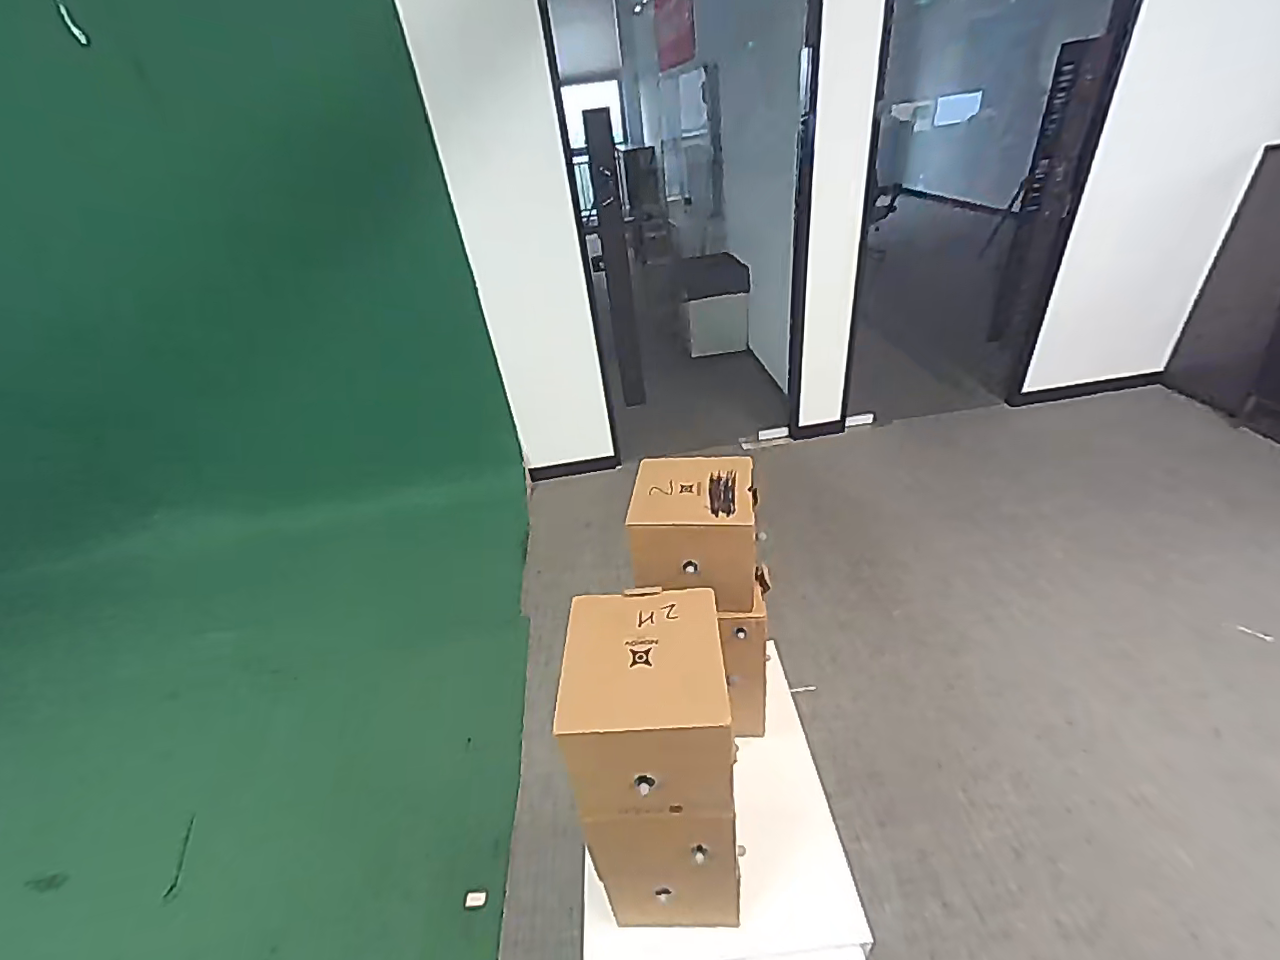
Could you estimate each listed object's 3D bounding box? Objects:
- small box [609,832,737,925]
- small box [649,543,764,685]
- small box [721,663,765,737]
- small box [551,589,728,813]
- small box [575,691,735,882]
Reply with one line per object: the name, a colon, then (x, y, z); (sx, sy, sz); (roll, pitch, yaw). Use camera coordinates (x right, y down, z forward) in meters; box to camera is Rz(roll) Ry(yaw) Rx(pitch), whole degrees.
small box: (0.046, 0.516, 0.784); (0.179, 0.176, 0.168); (-3, 34, 5)
small box: (0.111, 0.226, 0.907); (0.179, 0.176, 0.168); (-3, 35, 6)
small box: (0.134, 0.356, 1.001); (0.179, 0.176, 0.168); (-4, 35, 7)
small box: (0.008, 0.246, 0.603); (0.168, 0.176, 0.179); (-3, 32, 4)
small box: (0.026, 0.384, 0.691); (0.179, 0.176, 0.168); (-5, 32, 5)
